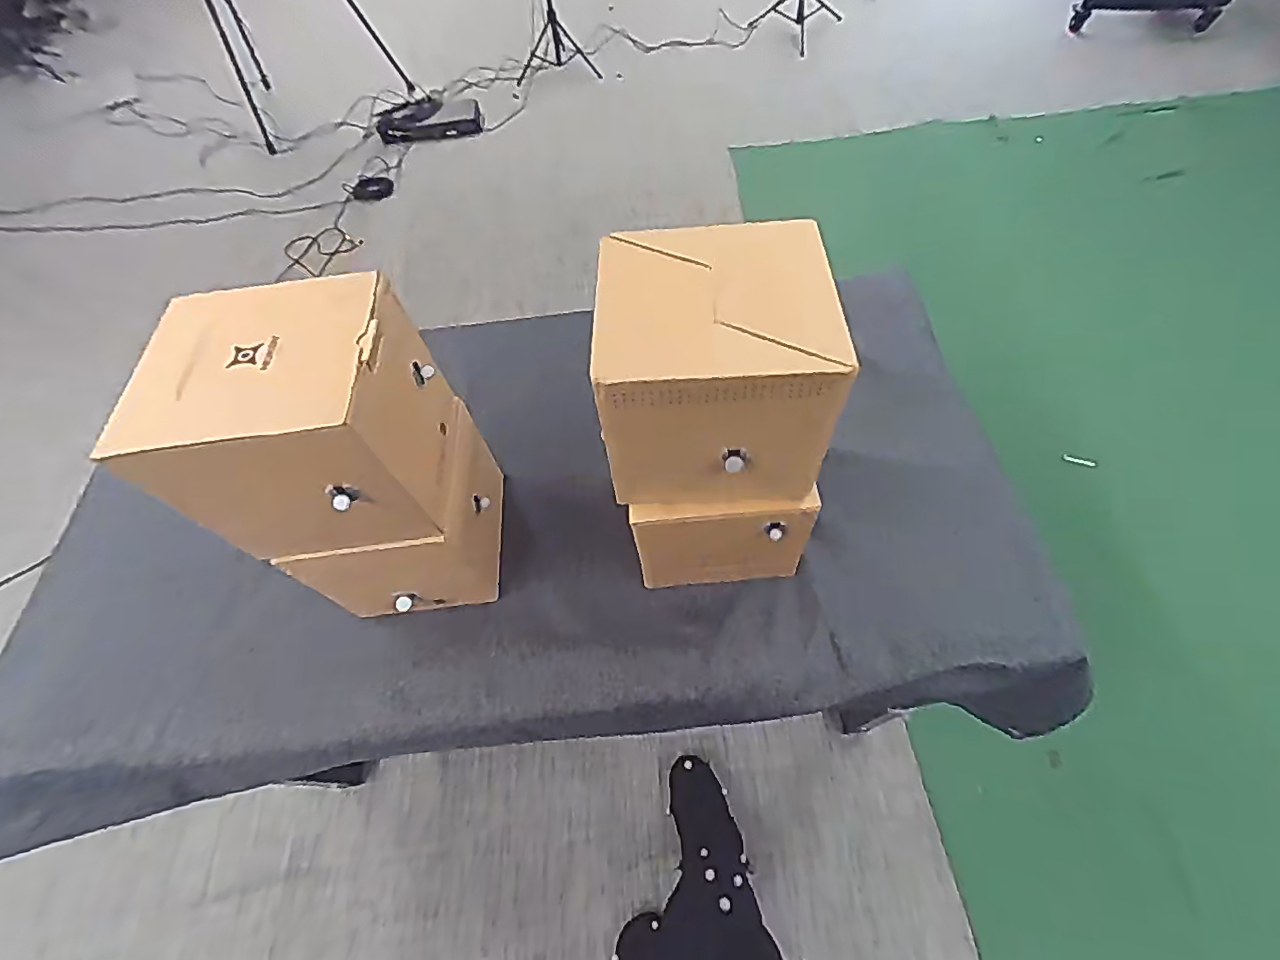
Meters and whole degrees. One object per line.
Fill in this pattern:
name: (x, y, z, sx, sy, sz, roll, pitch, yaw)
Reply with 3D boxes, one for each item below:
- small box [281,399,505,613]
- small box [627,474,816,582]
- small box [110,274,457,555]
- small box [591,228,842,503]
small box: (-0.258, 0.035, 0.614, 0.168, 0.176, 0.179, -7, 59, 1)
small box: (0.077, 0.006, 0.604, 0.179, 0.176, 0.168, -5, 58, 1)
small box: (-0.277, -0.049, 0.476, 0.179, 0.176, 0.168, -9, 57, 1)
small box: (0.060, -0.094, 0.470, 0.179, 0.176, 0.168, -2, 58, 4)
